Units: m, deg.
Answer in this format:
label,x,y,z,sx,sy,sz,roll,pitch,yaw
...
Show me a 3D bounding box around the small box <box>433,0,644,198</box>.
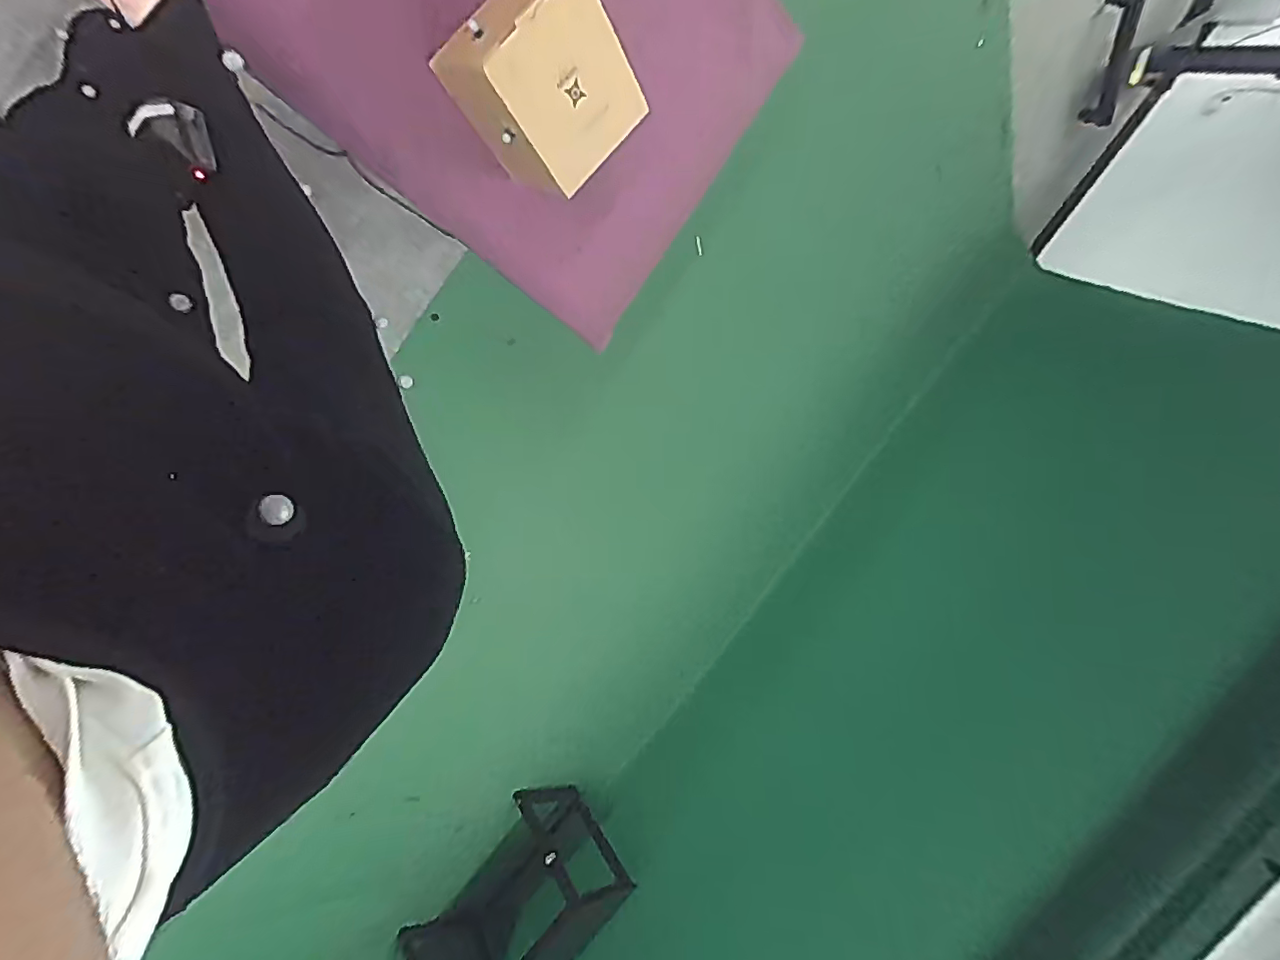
label,x,y,z,sx,sy,sz,roll,pitch,yaw
small box,-0.133,-0.508,0.705,0.168,0.176,0.179,-48,141,-2
